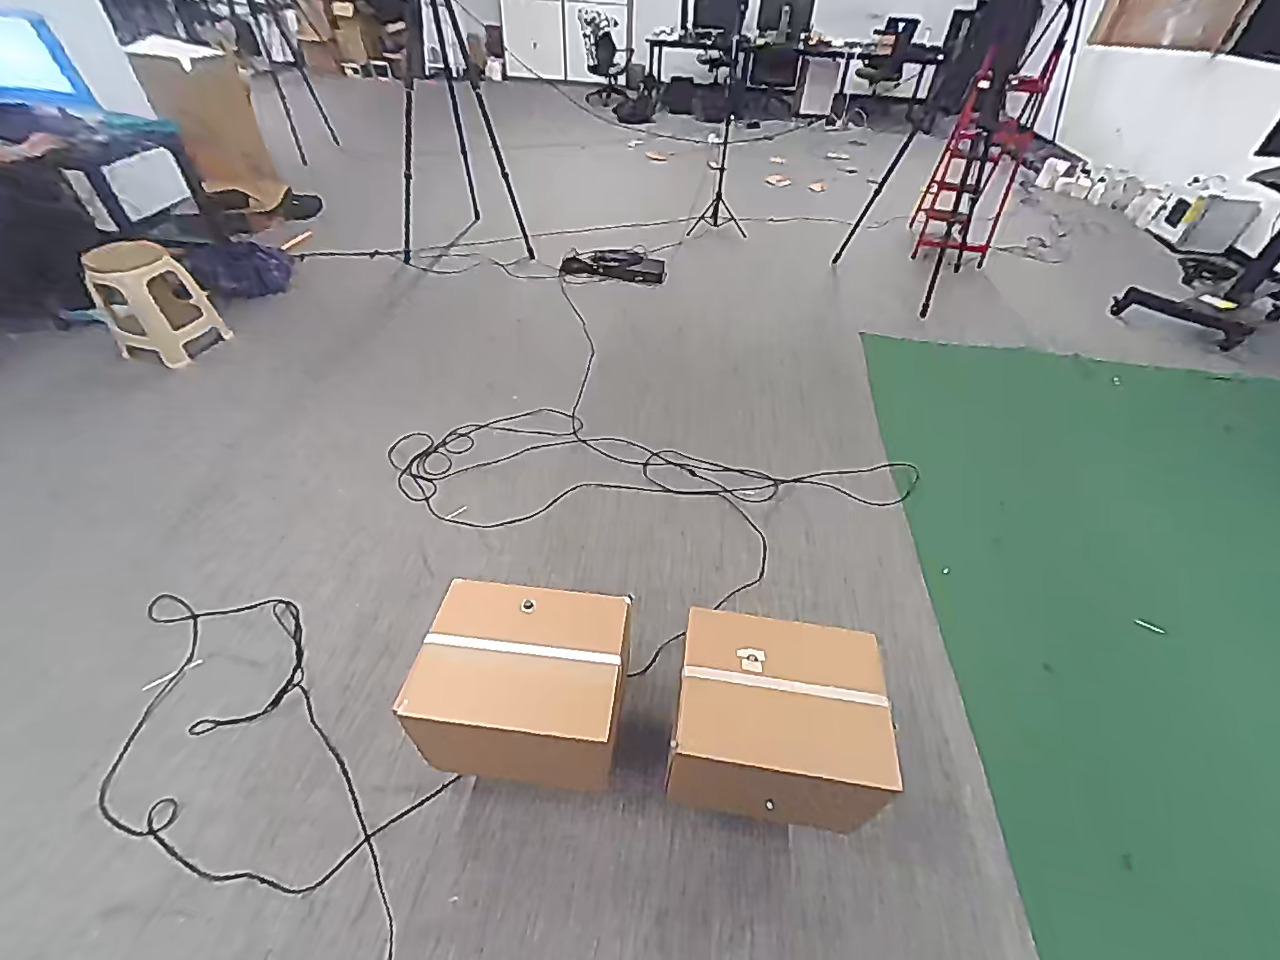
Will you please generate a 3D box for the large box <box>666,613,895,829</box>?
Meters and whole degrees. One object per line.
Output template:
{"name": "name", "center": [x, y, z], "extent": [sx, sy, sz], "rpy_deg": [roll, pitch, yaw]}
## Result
{"name": "large box", "center": [0.280, 0.529, 1.187], "extent": [0.408, 0.320, 0.320], "rpy_deg": [8, 44, 5]}
